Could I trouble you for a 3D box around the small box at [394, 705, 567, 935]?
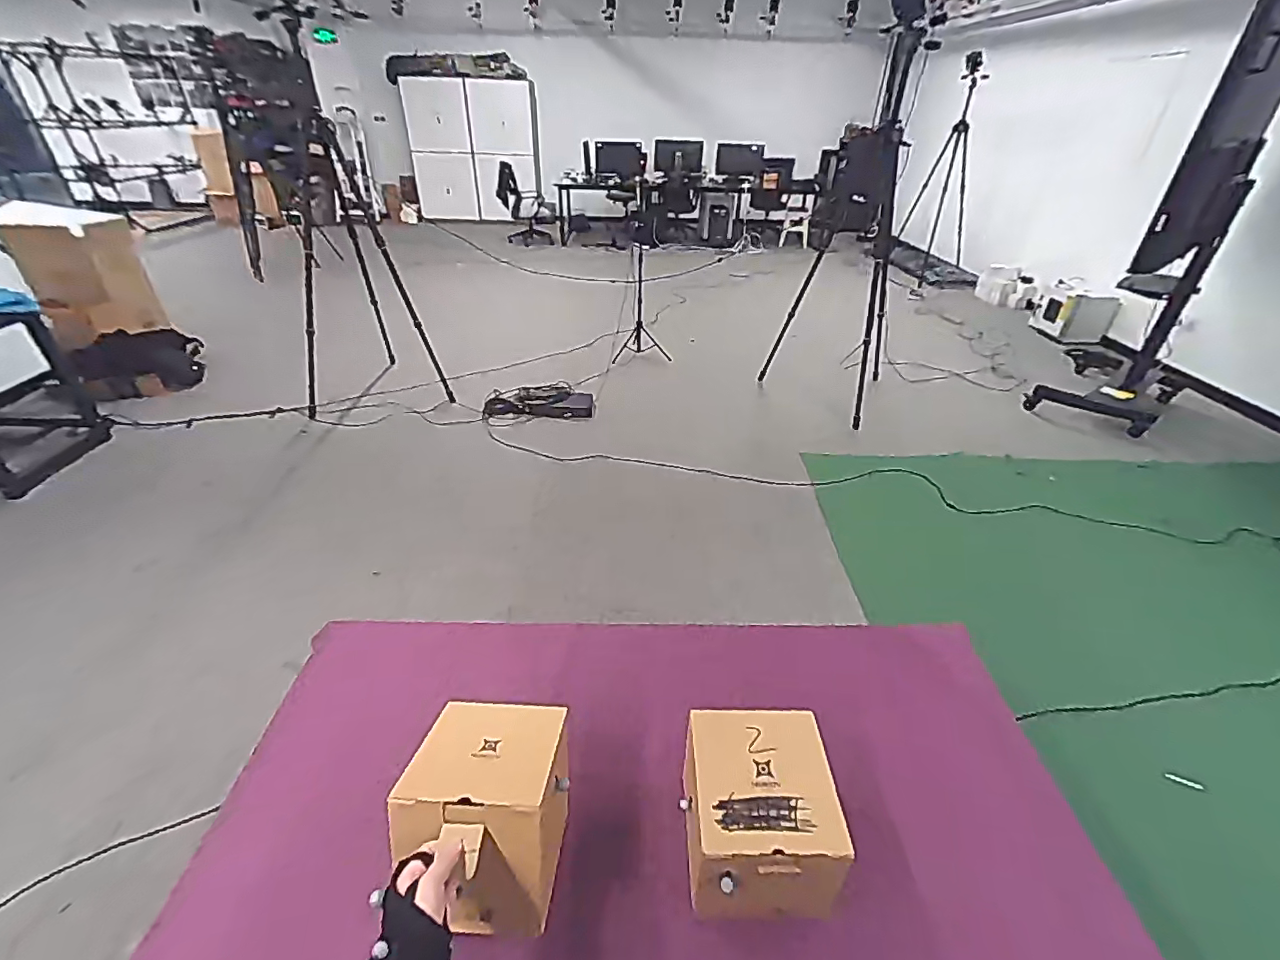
[{"bbox_3d":[-0.188,0.413,0.680,0.168,0.176,0.179,2,12,2],"label":"small box"}]
